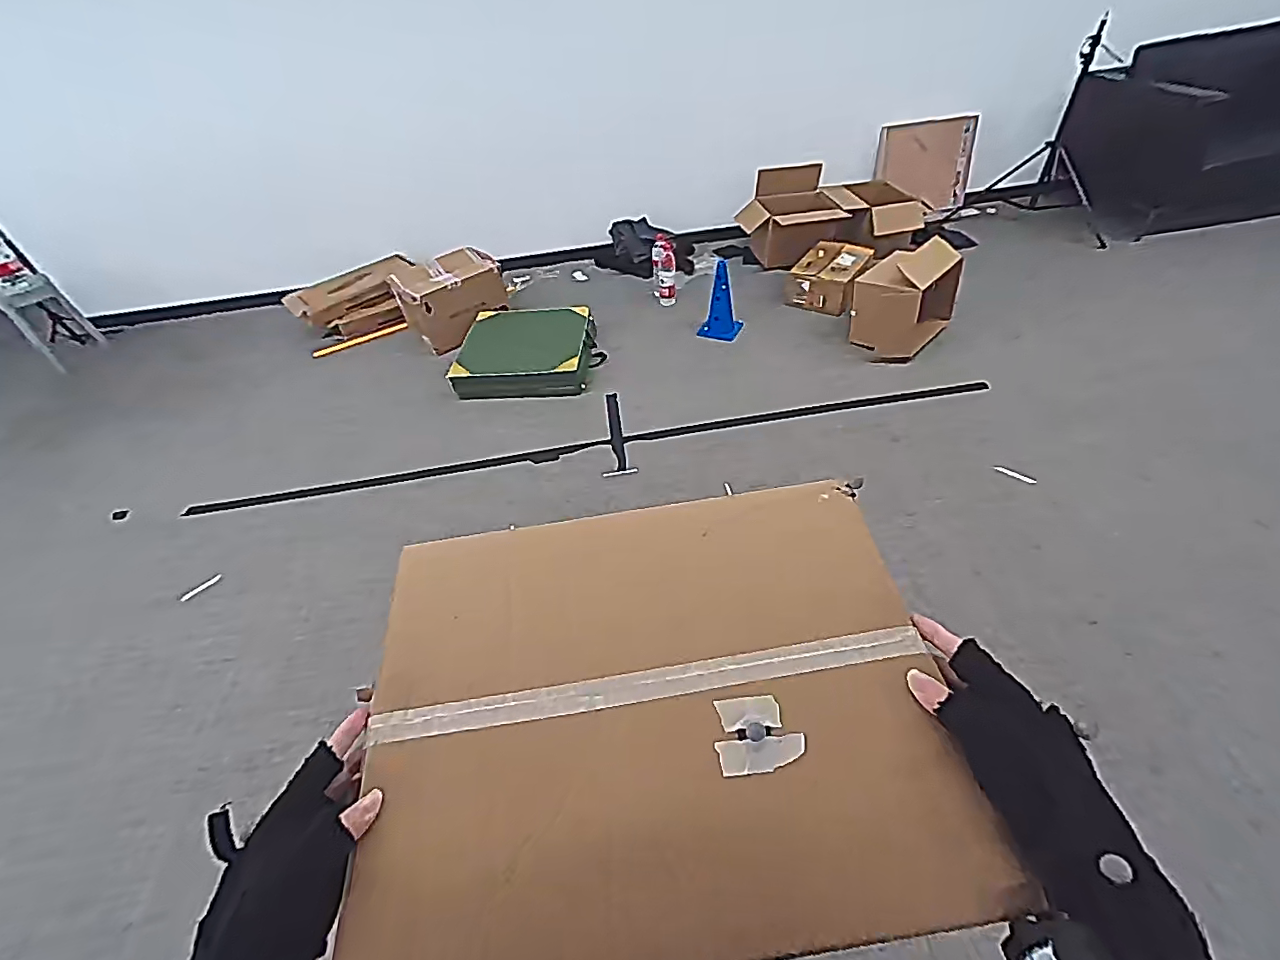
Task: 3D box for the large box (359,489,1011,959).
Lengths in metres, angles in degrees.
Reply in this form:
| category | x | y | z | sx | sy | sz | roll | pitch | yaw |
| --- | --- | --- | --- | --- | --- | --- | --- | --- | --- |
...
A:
| category | x | y | z | sx | sy | sz | roll | pitch | yaw |
| --- | --- | --- | --- | --- | --- | --- | --- | --- | --- |
| large box | 0.018 | 0.249 | 0.525 | 0.408 | 0.320 | 0.320 | -8 | 52 | -2 |
